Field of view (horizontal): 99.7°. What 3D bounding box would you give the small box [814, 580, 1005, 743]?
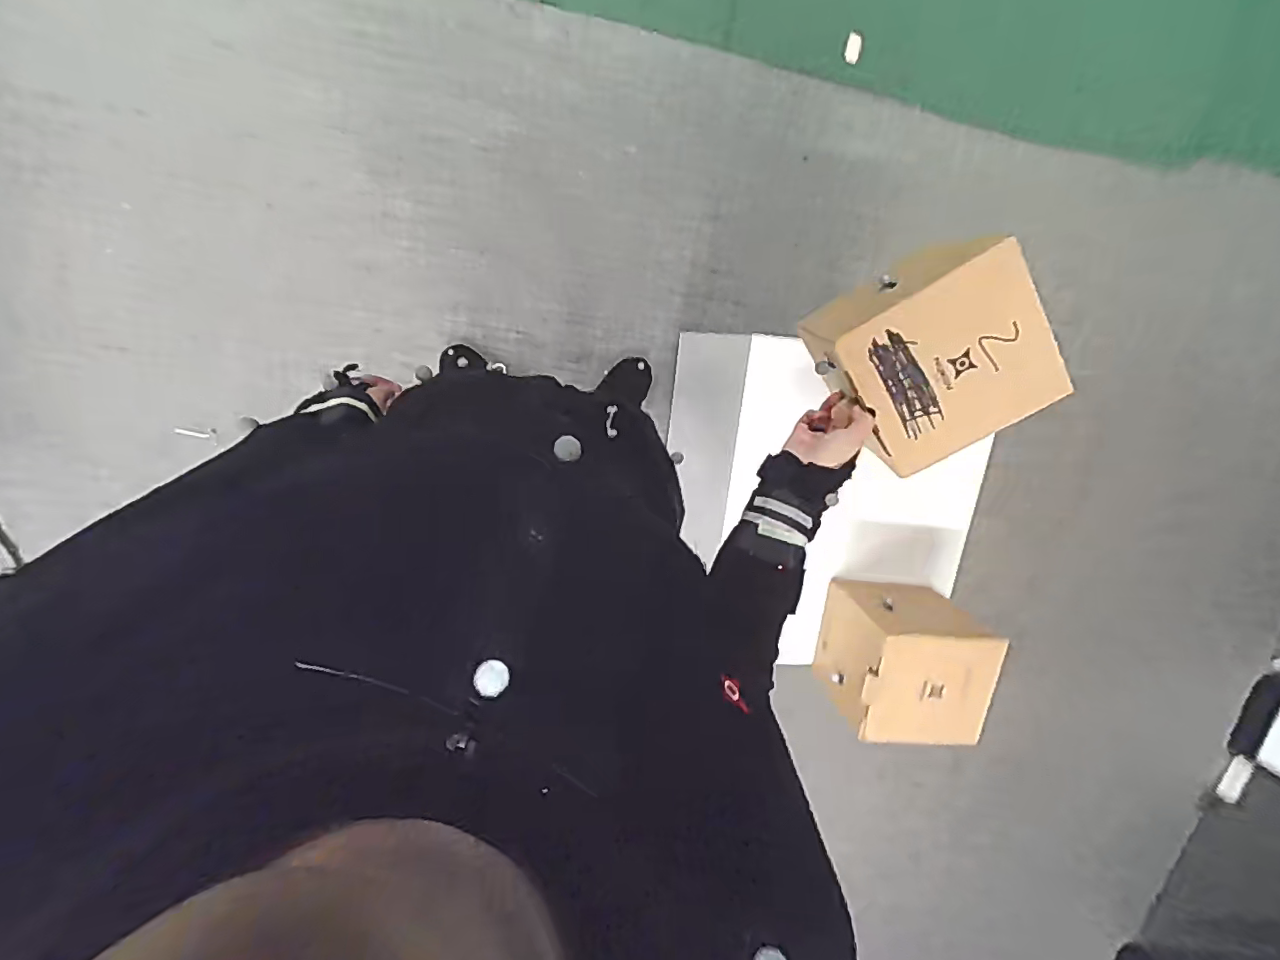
[{"bbox_3d":[0.381,0.259,0.800,0.179,0.176,0.168,4,106,-8],"label":"small box"}]
